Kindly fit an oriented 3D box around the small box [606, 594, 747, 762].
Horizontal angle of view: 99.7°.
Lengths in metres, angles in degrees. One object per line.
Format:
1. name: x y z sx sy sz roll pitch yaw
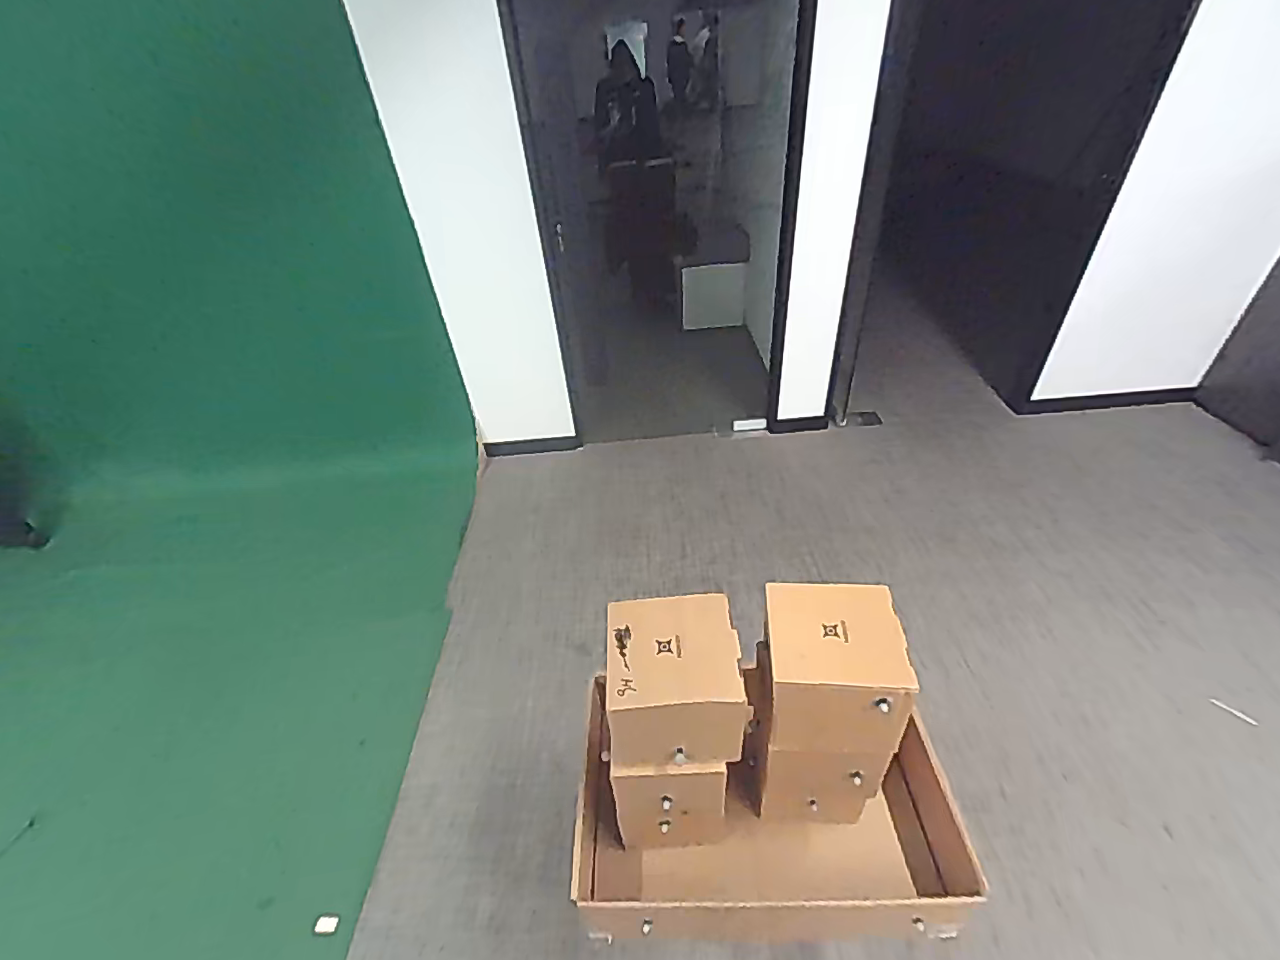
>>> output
1. small box: 0.047 0.283 0.771 0.179 0.176 0.168 -4 40 1
